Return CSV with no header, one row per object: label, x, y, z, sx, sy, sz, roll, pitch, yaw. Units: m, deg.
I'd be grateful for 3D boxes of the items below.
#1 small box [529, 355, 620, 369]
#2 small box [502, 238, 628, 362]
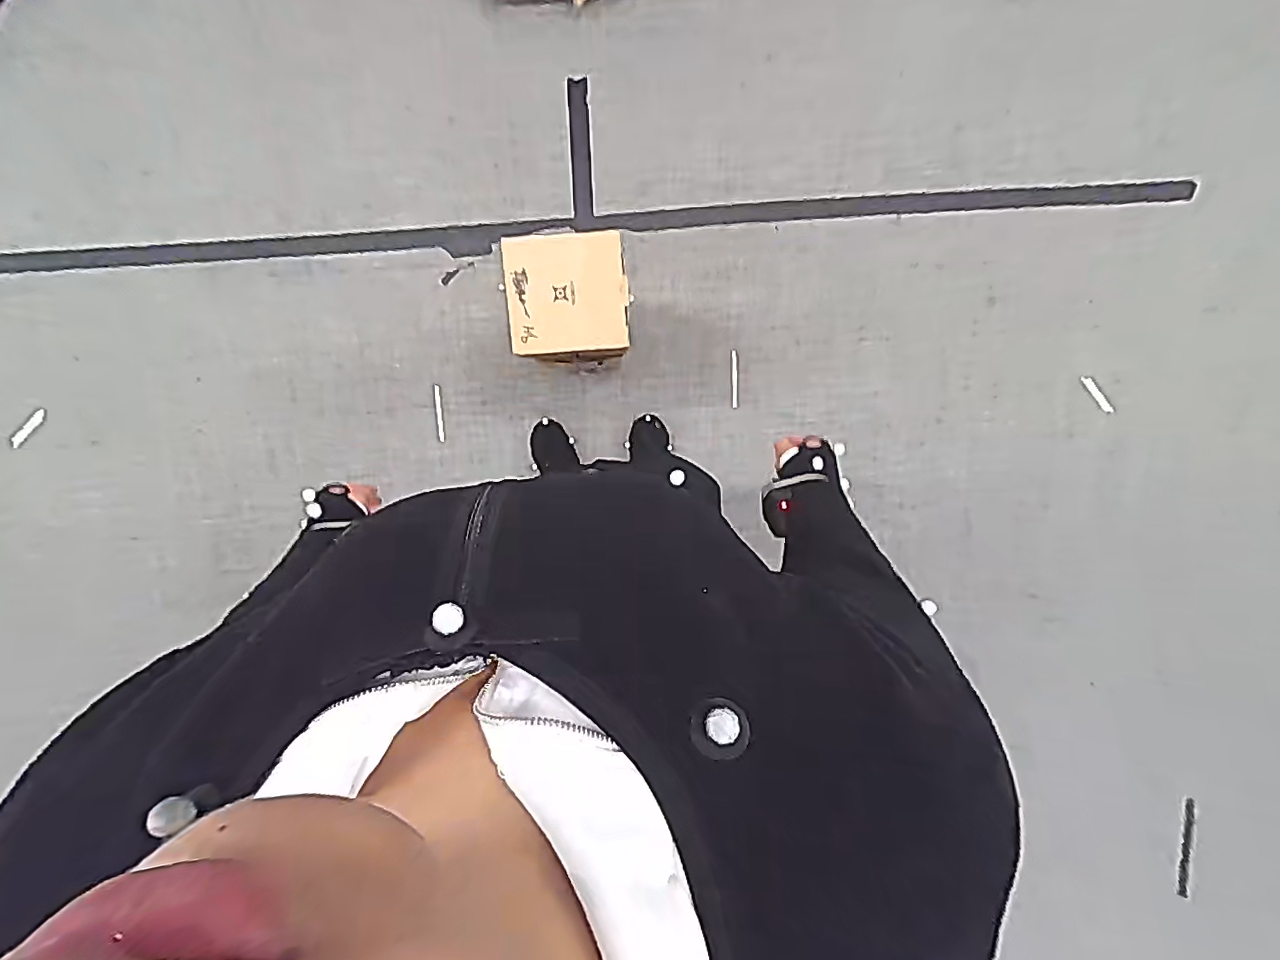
small box,-0.124,-0.304,1.033,0.168,0.176,0.179,-4,99,-3
small box,-0.115,-0.280,0.870,0.179,0.176,0.168,-4,99,-4
